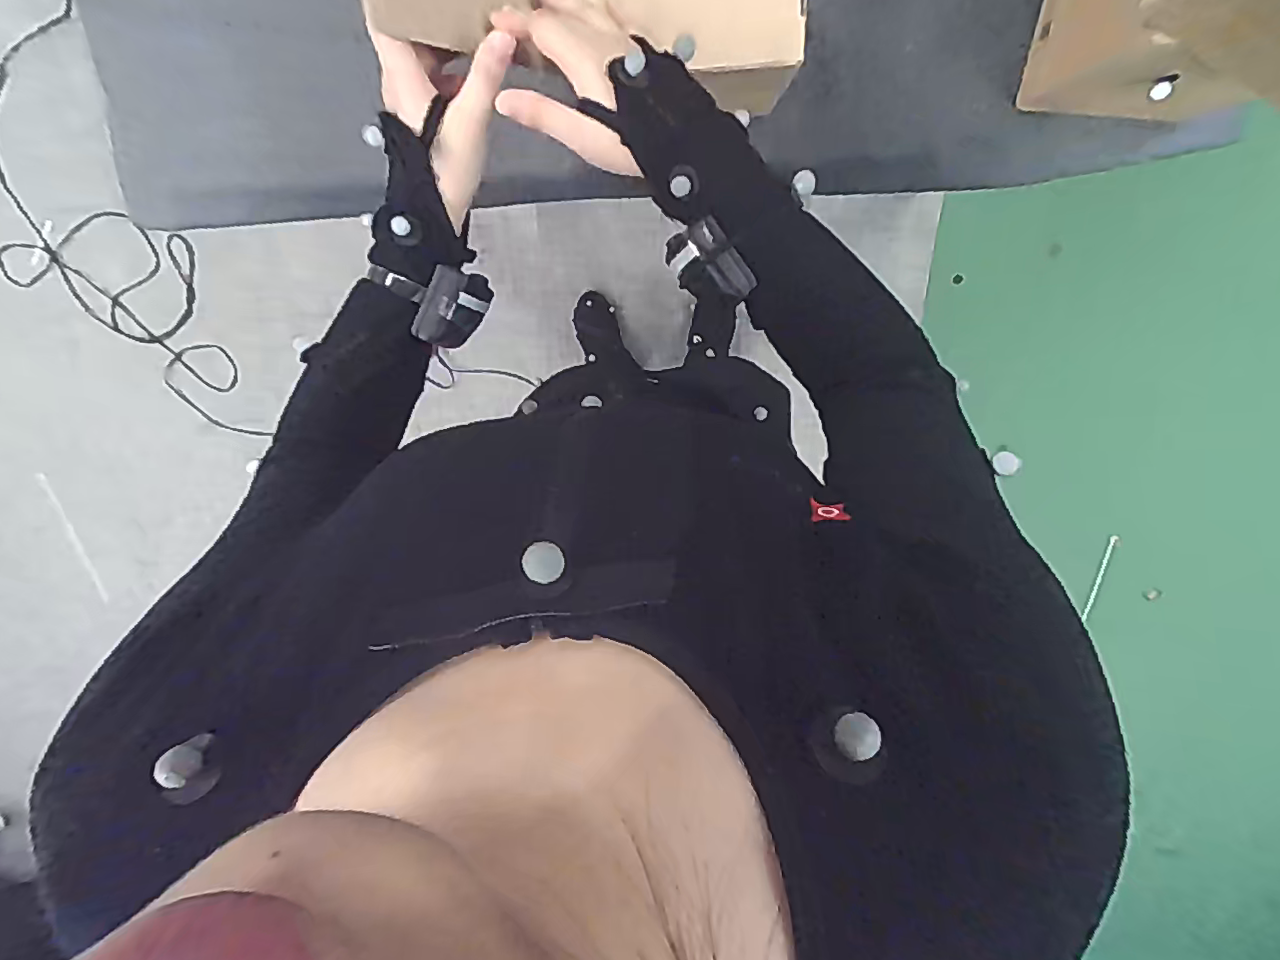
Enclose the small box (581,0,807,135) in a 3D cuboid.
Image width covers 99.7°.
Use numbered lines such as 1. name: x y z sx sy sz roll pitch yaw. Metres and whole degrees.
1. small box: 0.045 -0.422 0.481 0.179 0.176 0.168 -1 112 6
